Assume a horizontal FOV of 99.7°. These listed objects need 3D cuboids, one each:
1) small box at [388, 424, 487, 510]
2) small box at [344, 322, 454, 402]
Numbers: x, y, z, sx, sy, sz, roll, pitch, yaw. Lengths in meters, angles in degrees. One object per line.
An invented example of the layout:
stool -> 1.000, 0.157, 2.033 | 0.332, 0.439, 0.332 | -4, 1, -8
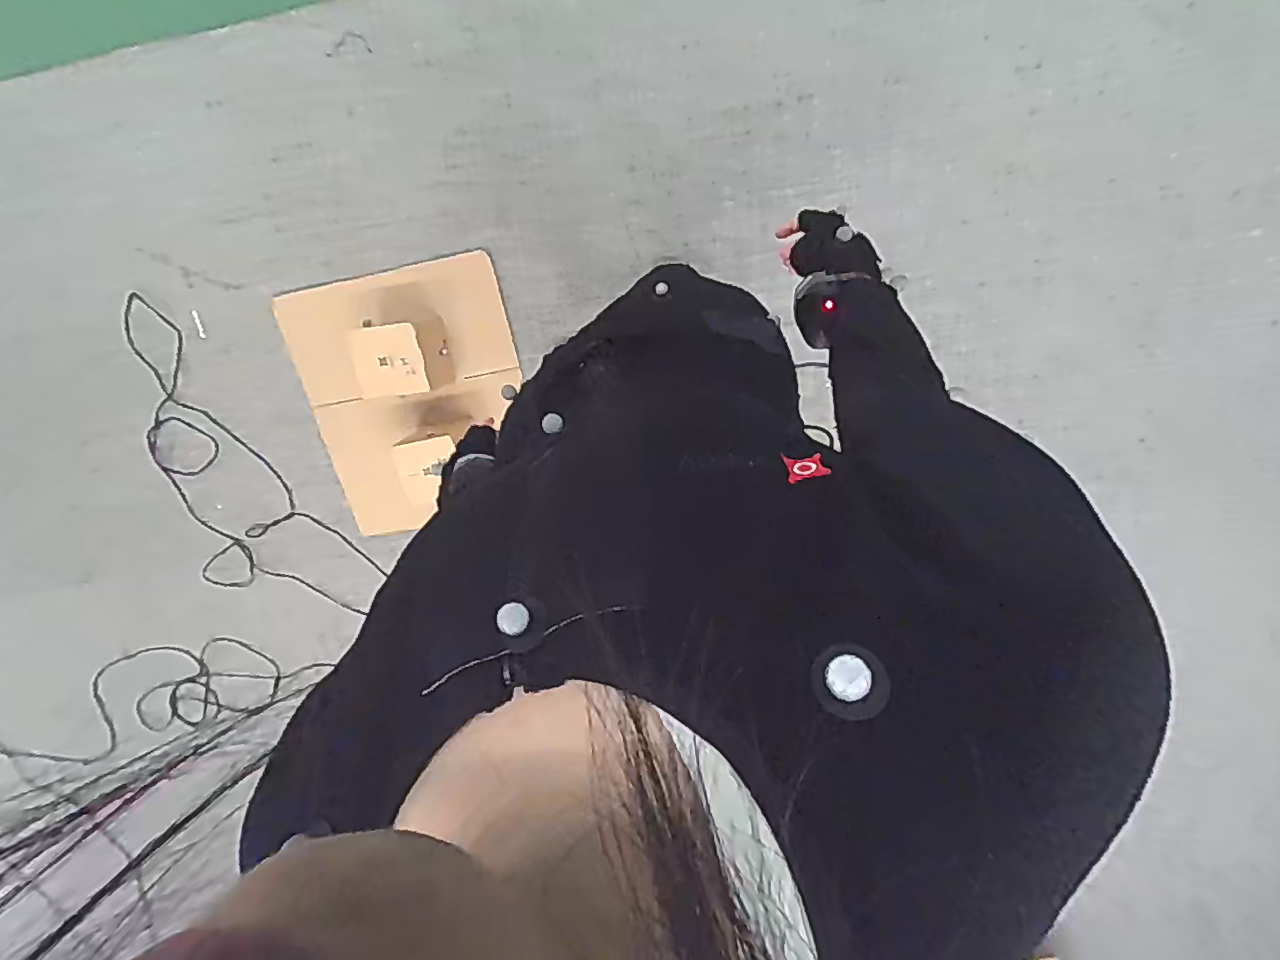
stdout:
small box -> -0.524, -0.039, 1.434 | 0.179, 0.176, 0.168 | -11, 108, 8
small box -> -0.593, -0.297, 1.351 | 0.179, 0.176, 0.168 | -6, 110, 5
